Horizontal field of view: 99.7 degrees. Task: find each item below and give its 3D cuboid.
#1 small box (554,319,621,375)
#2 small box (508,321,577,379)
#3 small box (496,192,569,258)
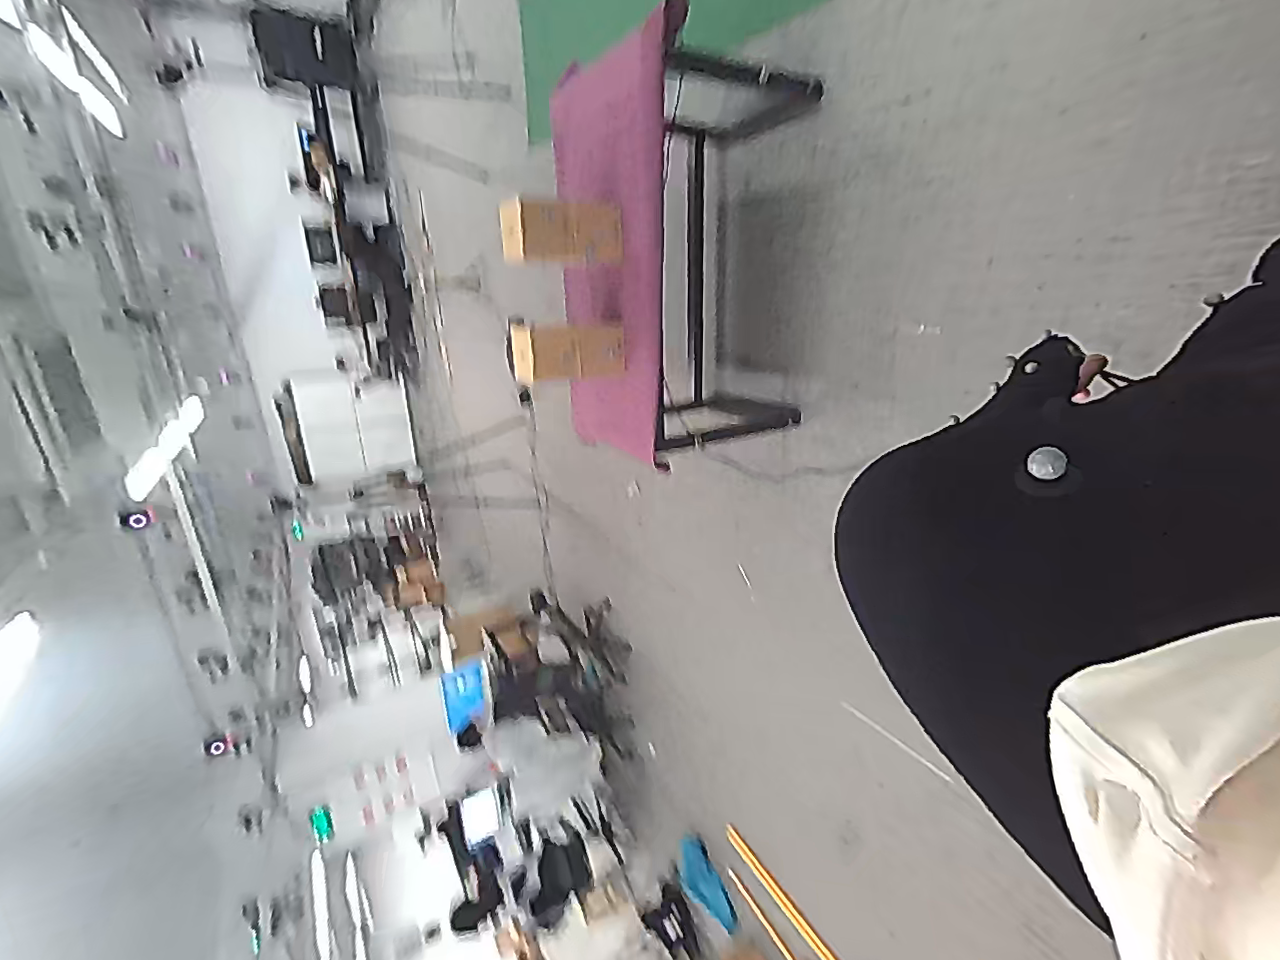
[{"bbox_3d":[-0.178,-0.455,1.834,0.179,0.176,0.168,28,125,52],"label":"small box"},{"bbox_3d":[-0.316,-0.425,1.754,0.179,0.176,0.168,26,122,53],"label":"small box"},{"bbox_3d":[-0.319,-0.763,1.630,0.179,0.176,0.168,28,124,53],"label":"small box"}]
